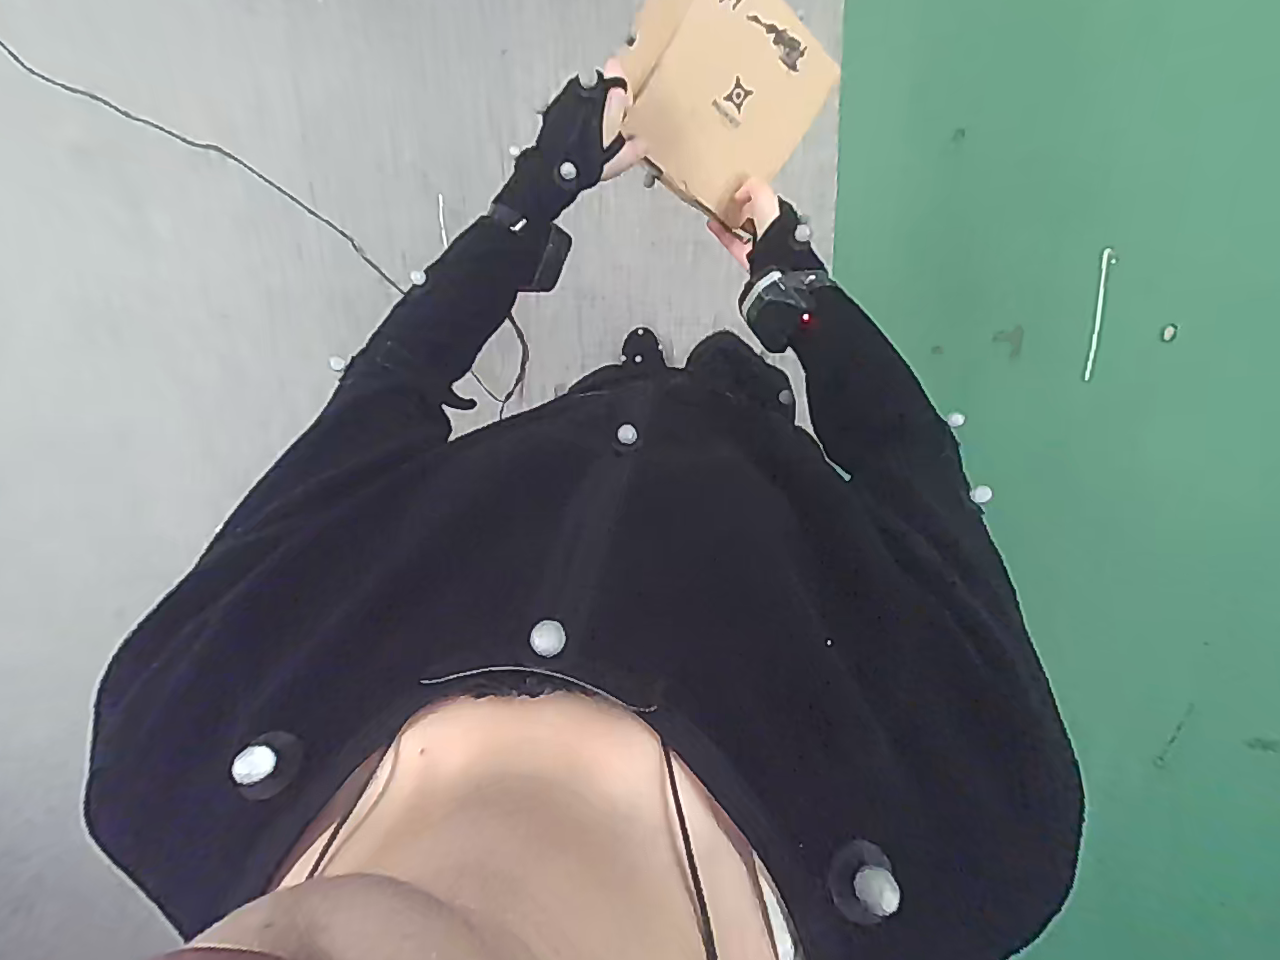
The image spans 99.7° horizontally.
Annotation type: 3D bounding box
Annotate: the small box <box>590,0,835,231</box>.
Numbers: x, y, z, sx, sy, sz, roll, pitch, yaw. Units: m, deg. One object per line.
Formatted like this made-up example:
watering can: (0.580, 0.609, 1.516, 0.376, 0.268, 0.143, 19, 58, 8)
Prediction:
small box: (0.061, -0.410, 0.581, 0.168, 0.176, 0.179, 23, 117, -33)
